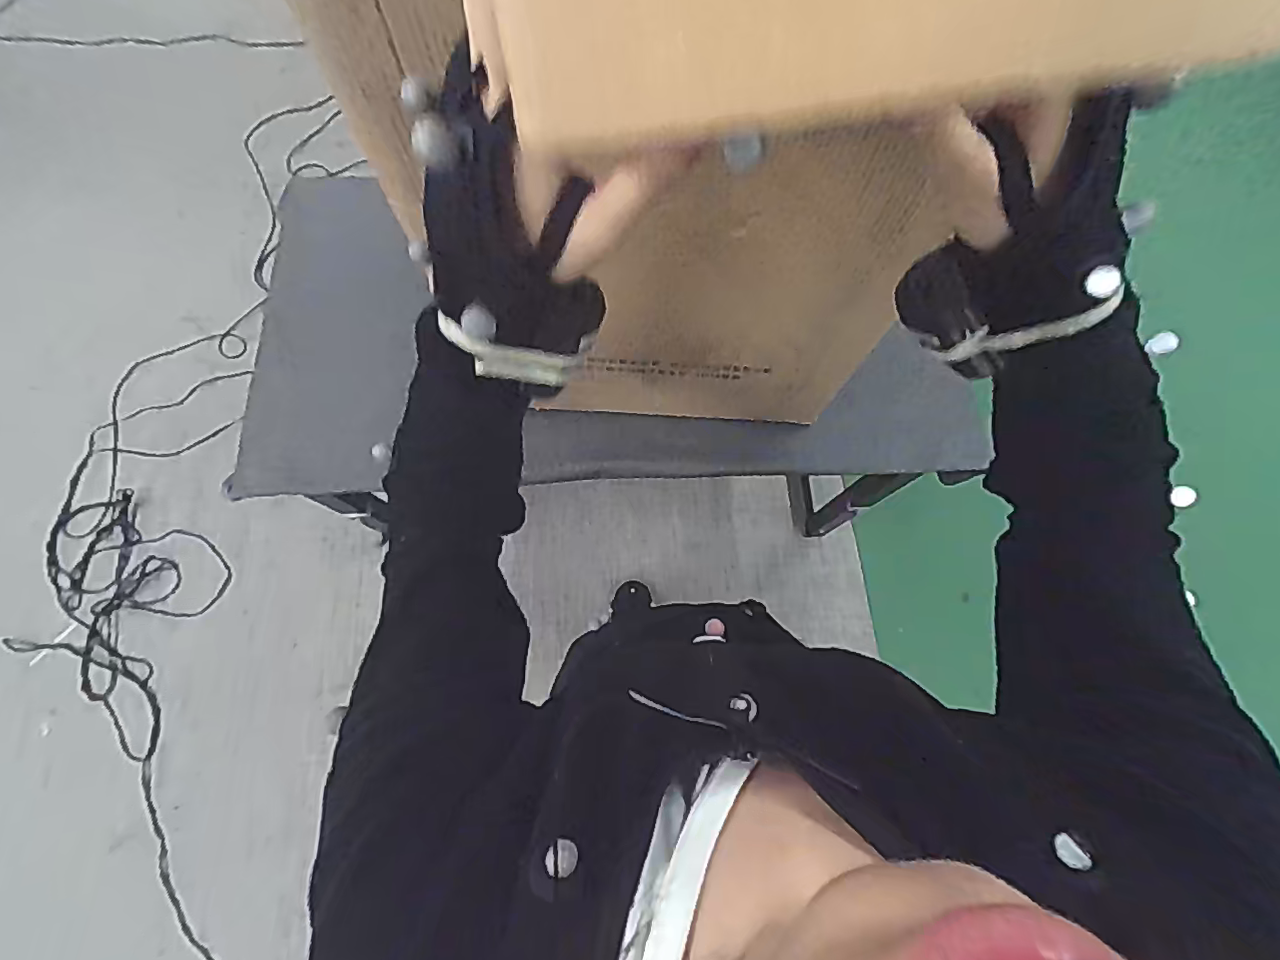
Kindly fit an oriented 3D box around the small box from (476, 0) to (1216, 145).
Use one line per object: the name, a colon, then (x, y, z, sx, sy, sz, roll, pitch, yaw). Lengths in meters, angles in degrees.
small box: (0.044, -0.207, 0.155, 0.168, 0.179, 0.176, -3, 31, 6)
